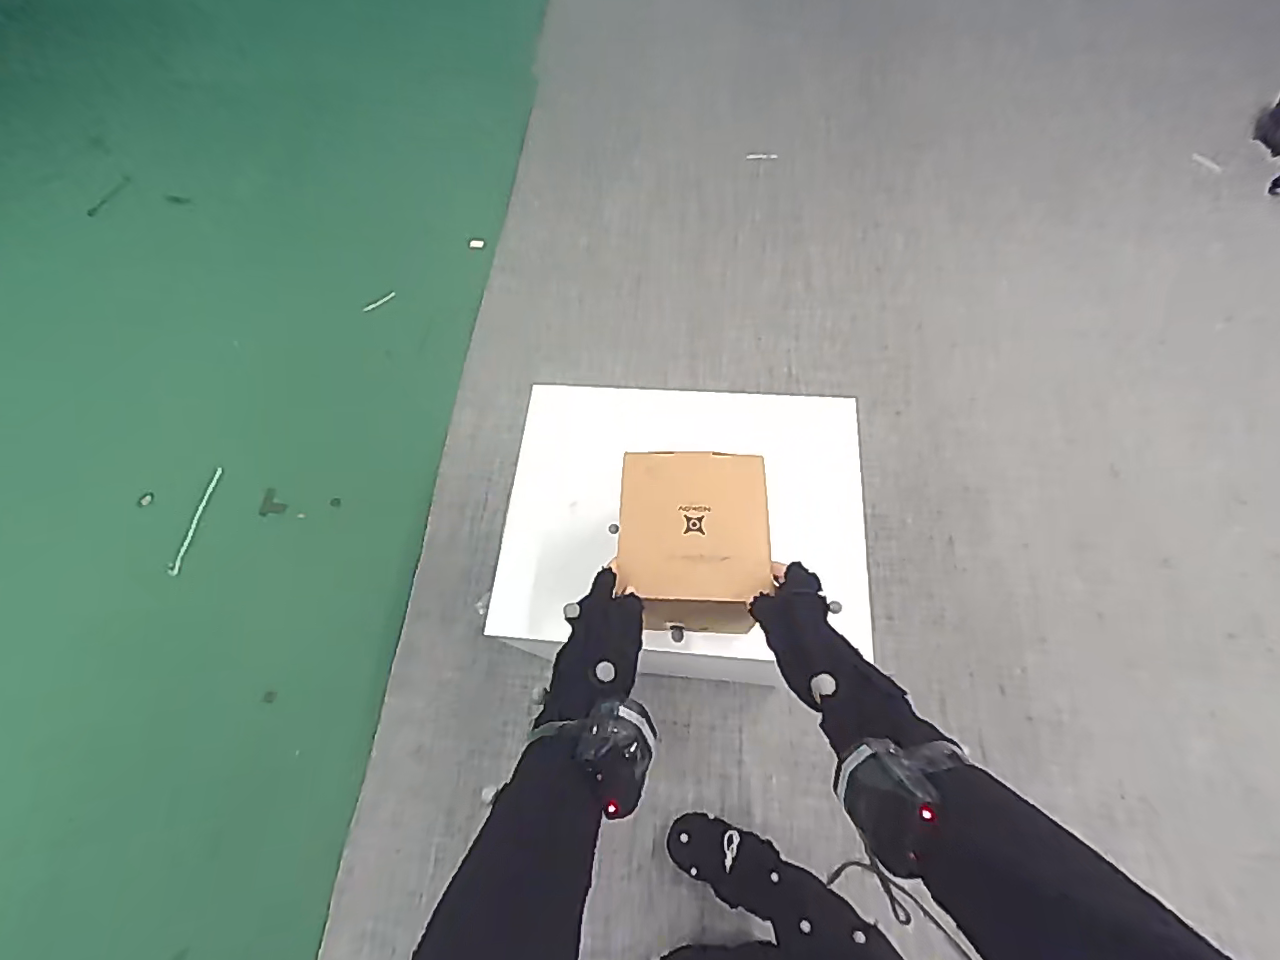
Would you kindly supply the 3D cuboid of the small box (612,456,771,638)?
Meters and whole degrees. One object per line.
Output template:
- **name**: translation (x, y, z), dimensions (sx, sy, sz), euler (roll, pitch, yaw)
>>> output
- **small box**: translation (0.058, 0.086, 0.658), dimensions (0.168, 0.176, 0.179), euler (0, 64, 3)
